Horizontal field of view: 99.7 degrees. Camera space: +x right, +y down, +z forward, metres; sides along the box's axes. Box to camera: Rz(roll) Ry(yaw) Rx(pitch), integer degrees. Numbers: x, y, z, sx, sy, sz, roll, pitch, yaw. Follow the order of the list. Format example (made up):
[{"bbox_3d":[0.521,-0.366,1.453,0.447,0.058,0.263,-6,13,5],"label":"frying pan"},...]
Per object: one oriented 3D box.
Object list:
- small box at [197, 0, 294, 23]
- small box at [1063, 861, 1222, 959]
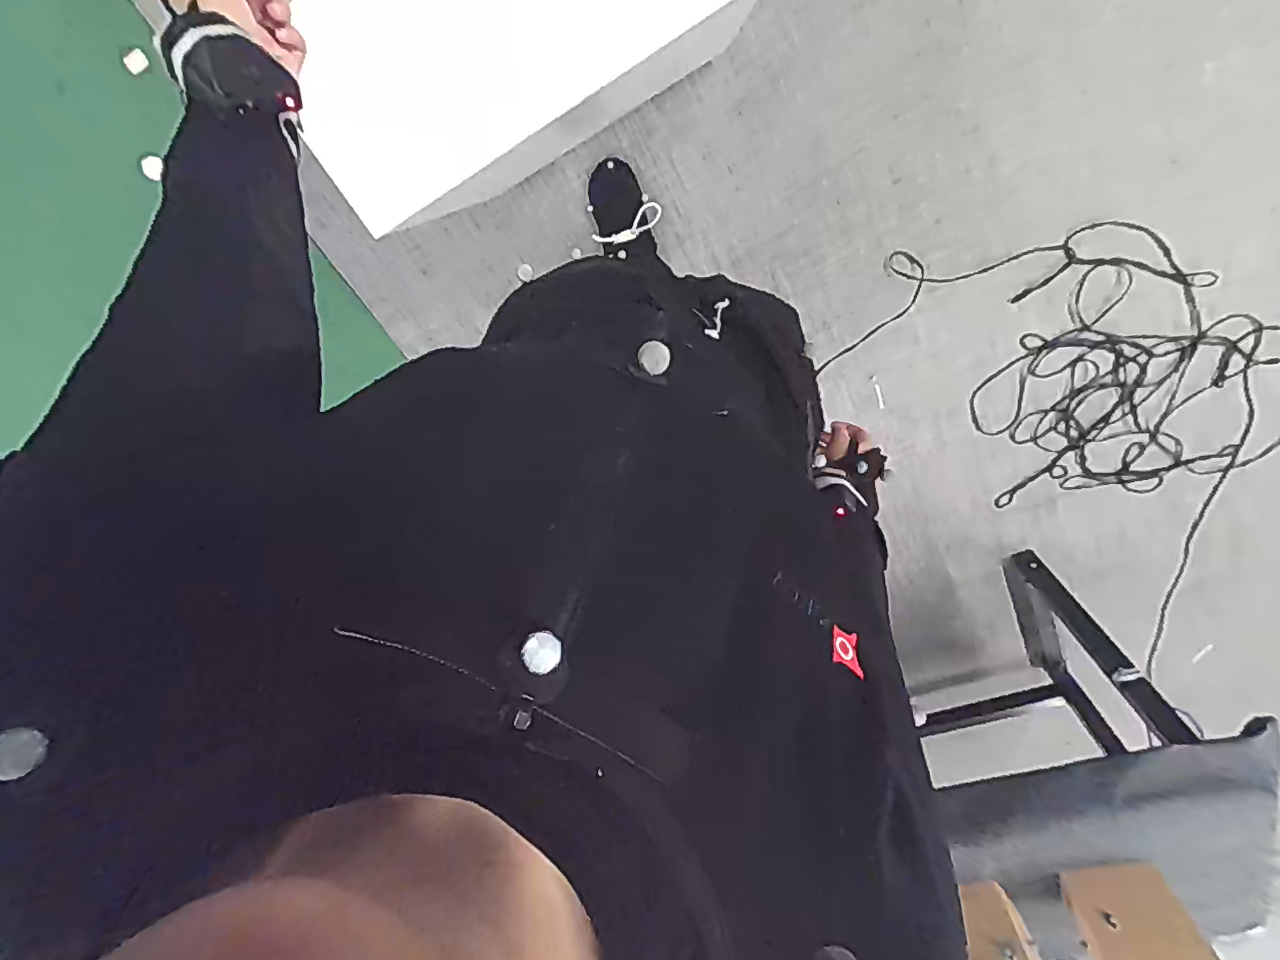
[{"bbox_3d":[-0.352,-0.503,0.412,0.168,0.176,0.179,-23,119,15],"label":"small box"},{"bbox_3d":[0.978,0.891,1.070,0.179,0.176,0.168,-20,120,14],"label":"small box"}]
